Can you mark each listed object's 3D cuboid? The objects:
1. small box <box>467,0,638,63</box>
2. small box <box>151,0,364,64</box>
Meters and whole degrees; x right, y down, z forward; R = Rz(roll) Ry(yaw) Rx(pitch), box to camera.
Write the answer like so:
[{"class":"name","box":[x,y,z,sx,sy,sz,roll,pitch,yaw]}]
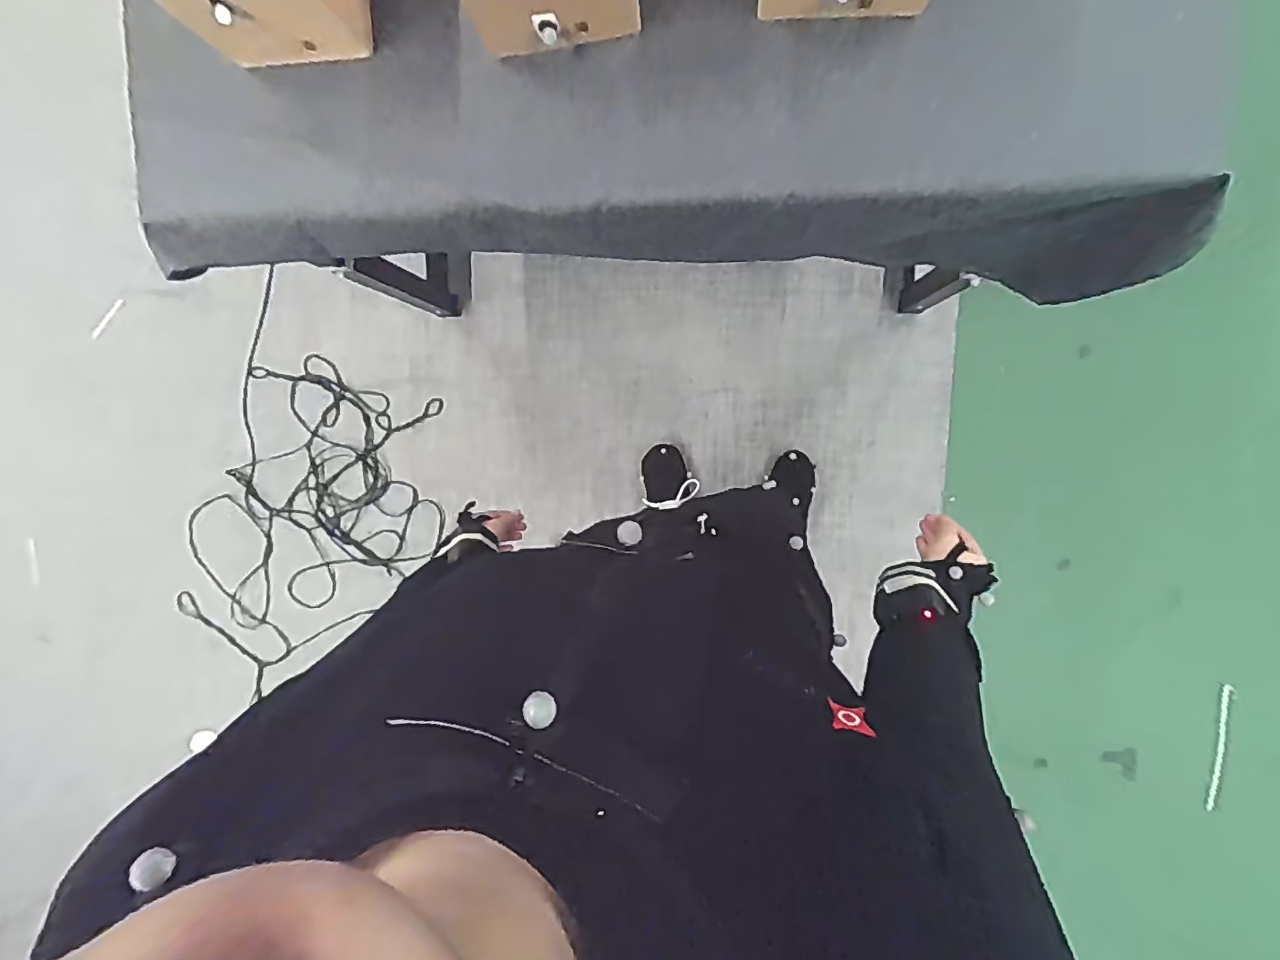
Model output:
[{"class":"small box","box":[-0.099,-0.546,0.504,0.168,0.176,0.179,-6,95,8]},{"class":"small box","box":[-0.397,-0.551,0.534,0.168,0.176,0.179,-1,94,6]}]
